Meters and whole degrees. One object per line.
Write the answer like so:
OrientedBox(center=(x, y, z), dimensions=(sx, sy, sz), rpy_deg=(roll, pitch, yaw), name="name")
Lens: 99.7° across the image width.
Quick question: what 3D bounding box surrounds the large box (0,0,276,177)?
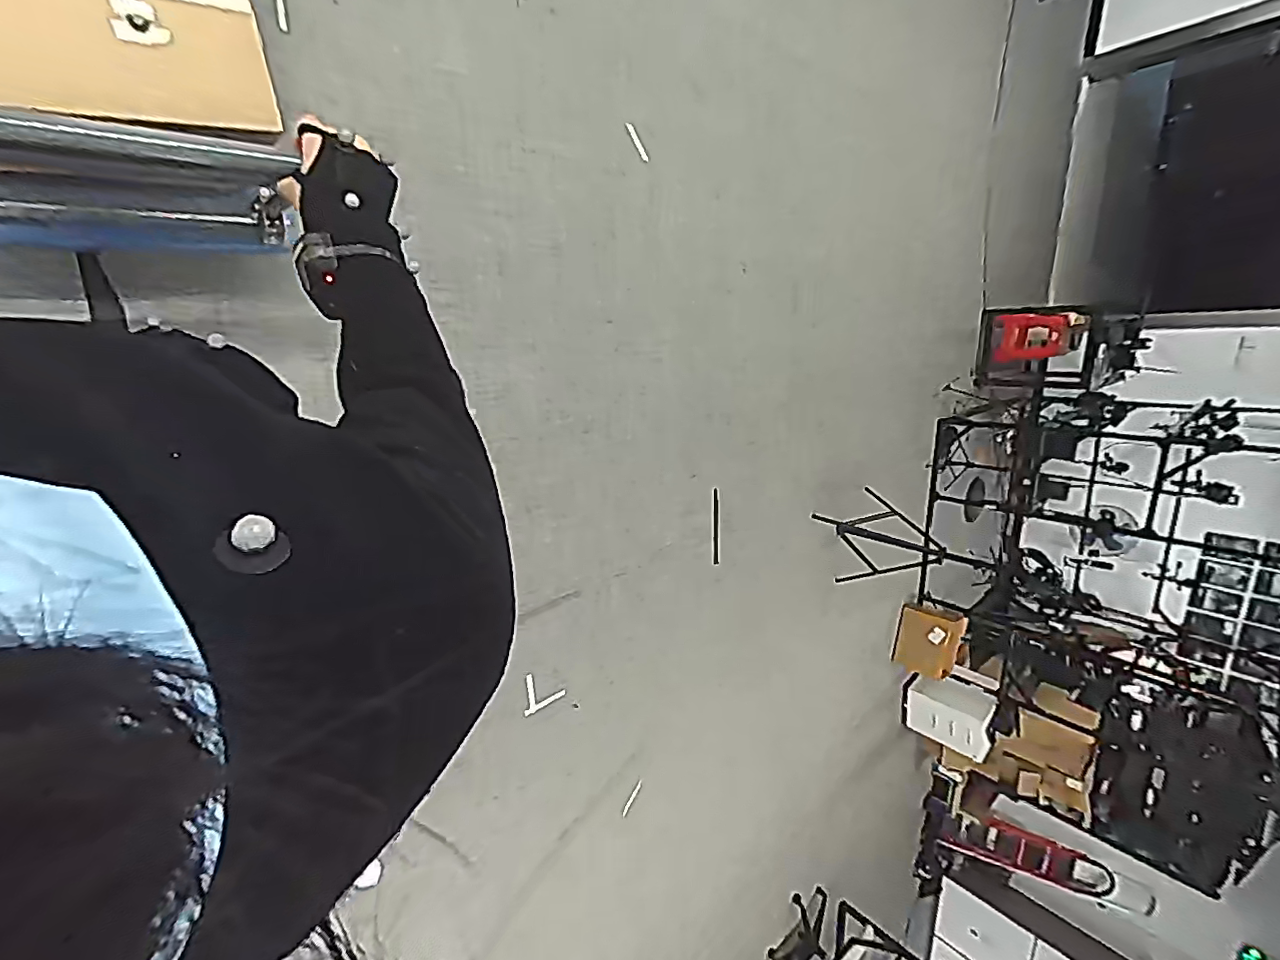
OrientedBox(center=(-0.814, -0.635, 0.754), dimensions=(0.408, 0.320, 0.320), rpy_deg=(-22, 115, -39), name="large box")
